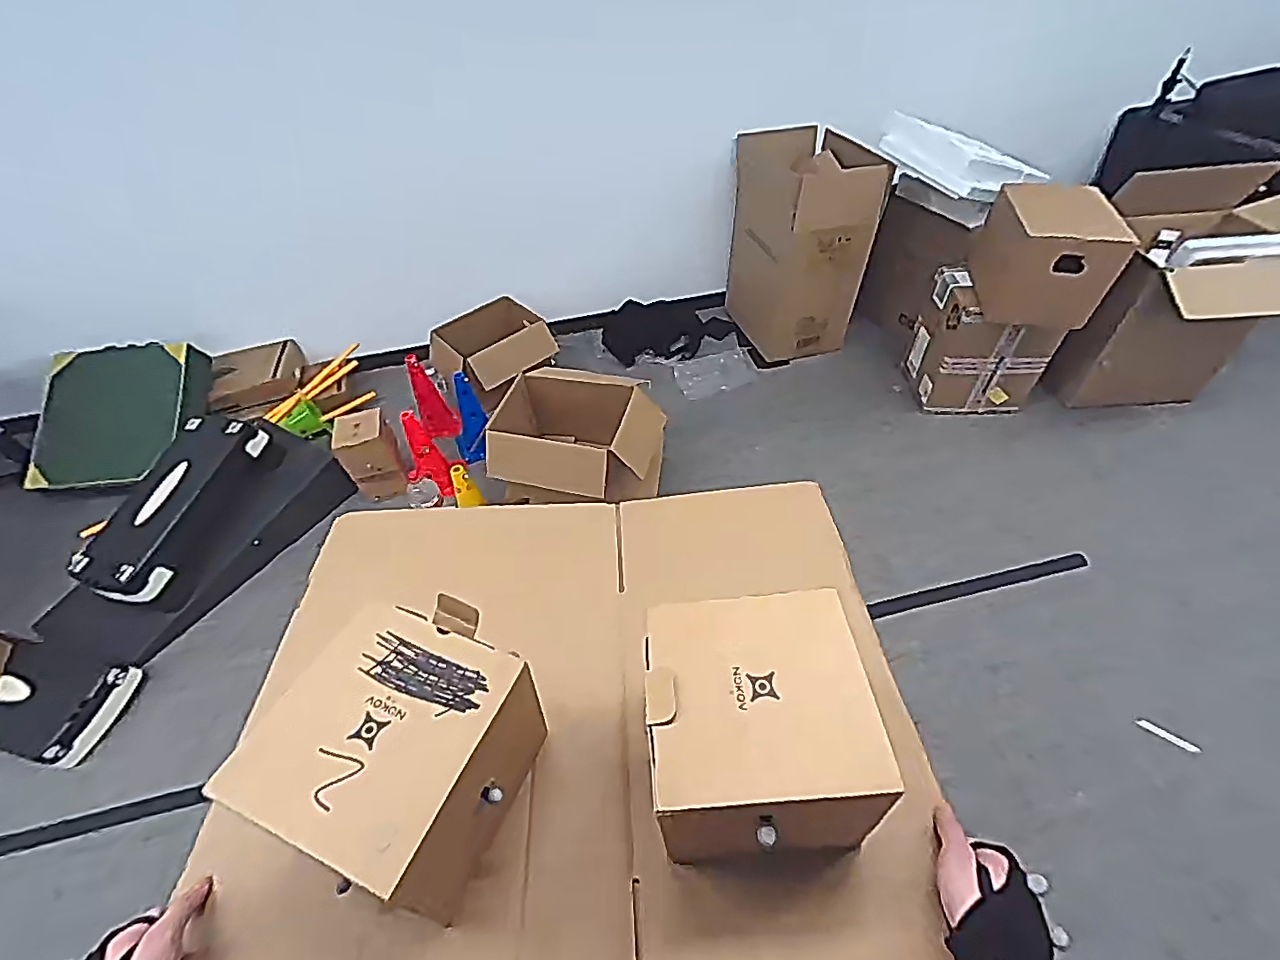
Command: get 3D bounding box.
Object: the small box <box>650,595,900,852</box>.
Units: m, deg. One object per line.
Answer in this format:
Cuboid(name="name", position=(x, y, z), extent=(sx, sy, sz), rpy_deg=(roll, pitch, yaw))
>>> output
Cuboid(name="small box", position=(0.106, 0.228, 0.501), extent=(0.179, 0.176, 0.168), rpy_deg=(-7, 45, 3))
